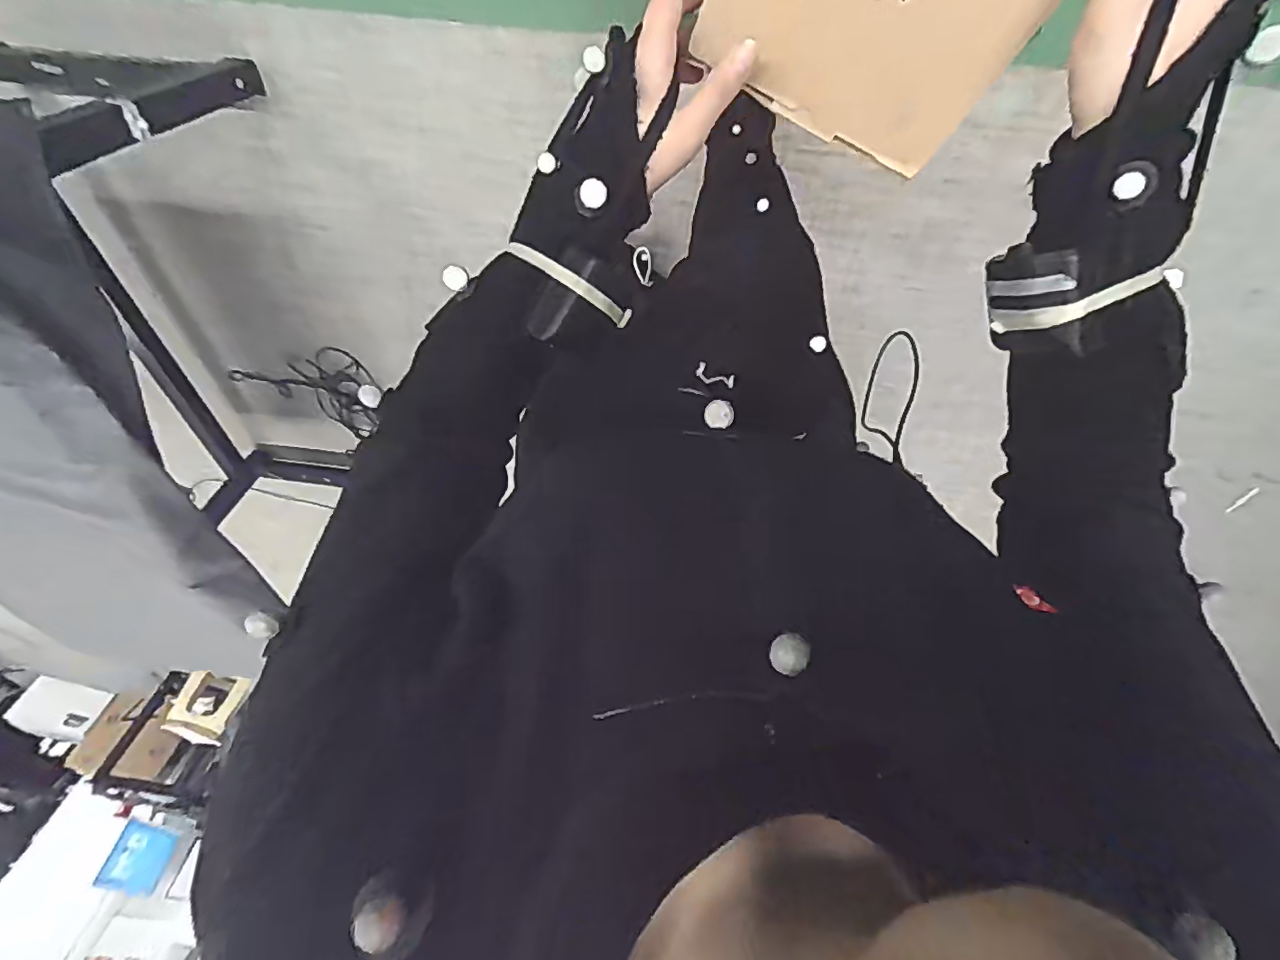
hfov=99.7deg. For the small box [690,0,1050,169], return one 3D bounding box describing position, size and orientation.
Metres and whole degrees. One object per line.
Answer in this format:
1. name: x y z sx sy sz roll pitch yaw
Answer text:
1. small box: 0.149 -0.331 0.309 0.168 0.176 0.179 22 144 -8
